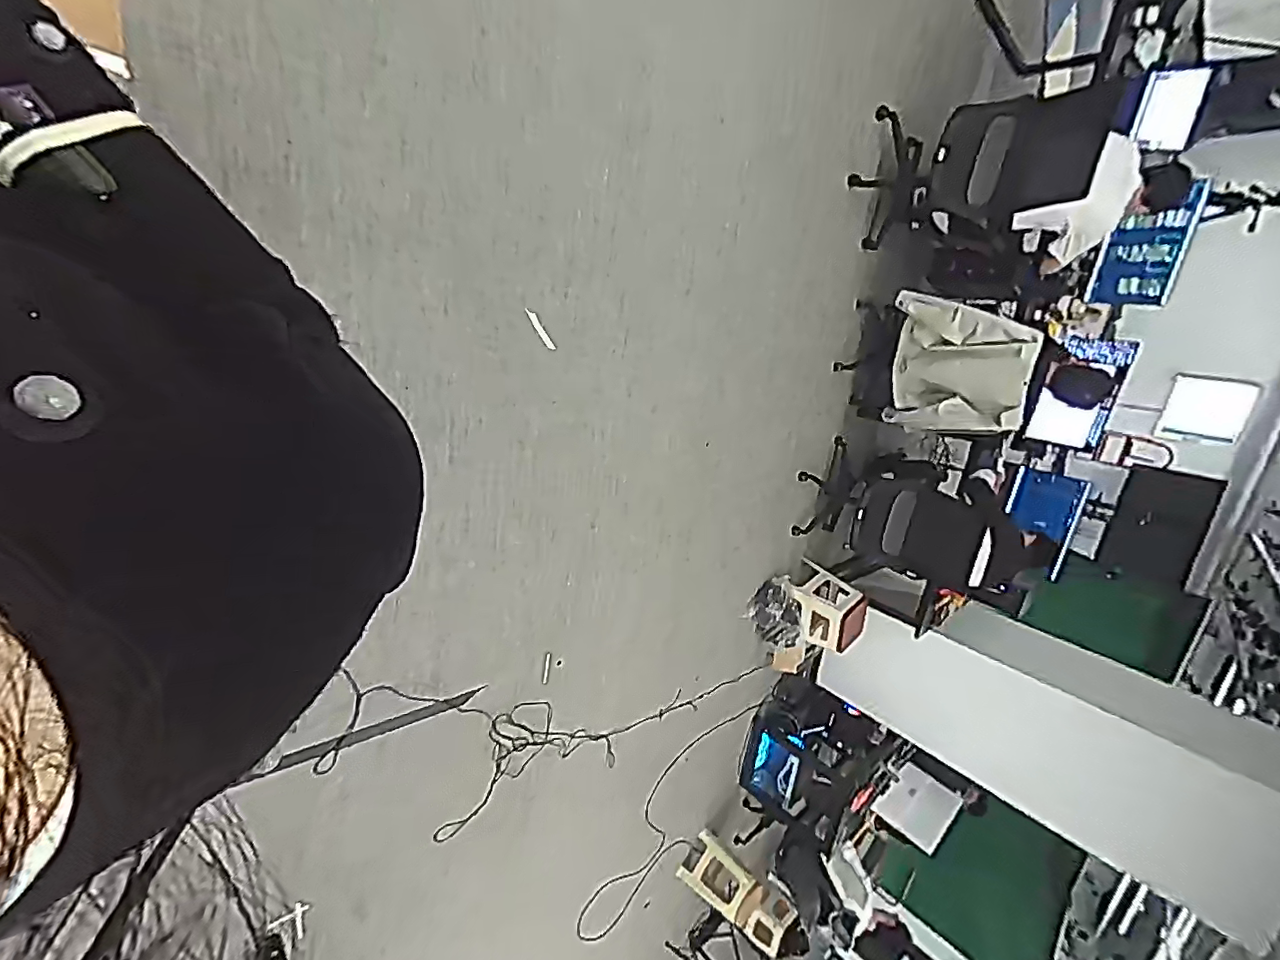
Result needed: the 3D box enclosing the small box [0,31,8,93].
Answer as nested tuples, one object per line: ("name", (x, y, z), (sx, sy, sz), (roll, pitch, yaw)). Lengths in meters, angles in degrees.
("small box", (-0.832, -0.546, 0.582), (0.179, 0.176, 0.168), (-6, 113, -45))
